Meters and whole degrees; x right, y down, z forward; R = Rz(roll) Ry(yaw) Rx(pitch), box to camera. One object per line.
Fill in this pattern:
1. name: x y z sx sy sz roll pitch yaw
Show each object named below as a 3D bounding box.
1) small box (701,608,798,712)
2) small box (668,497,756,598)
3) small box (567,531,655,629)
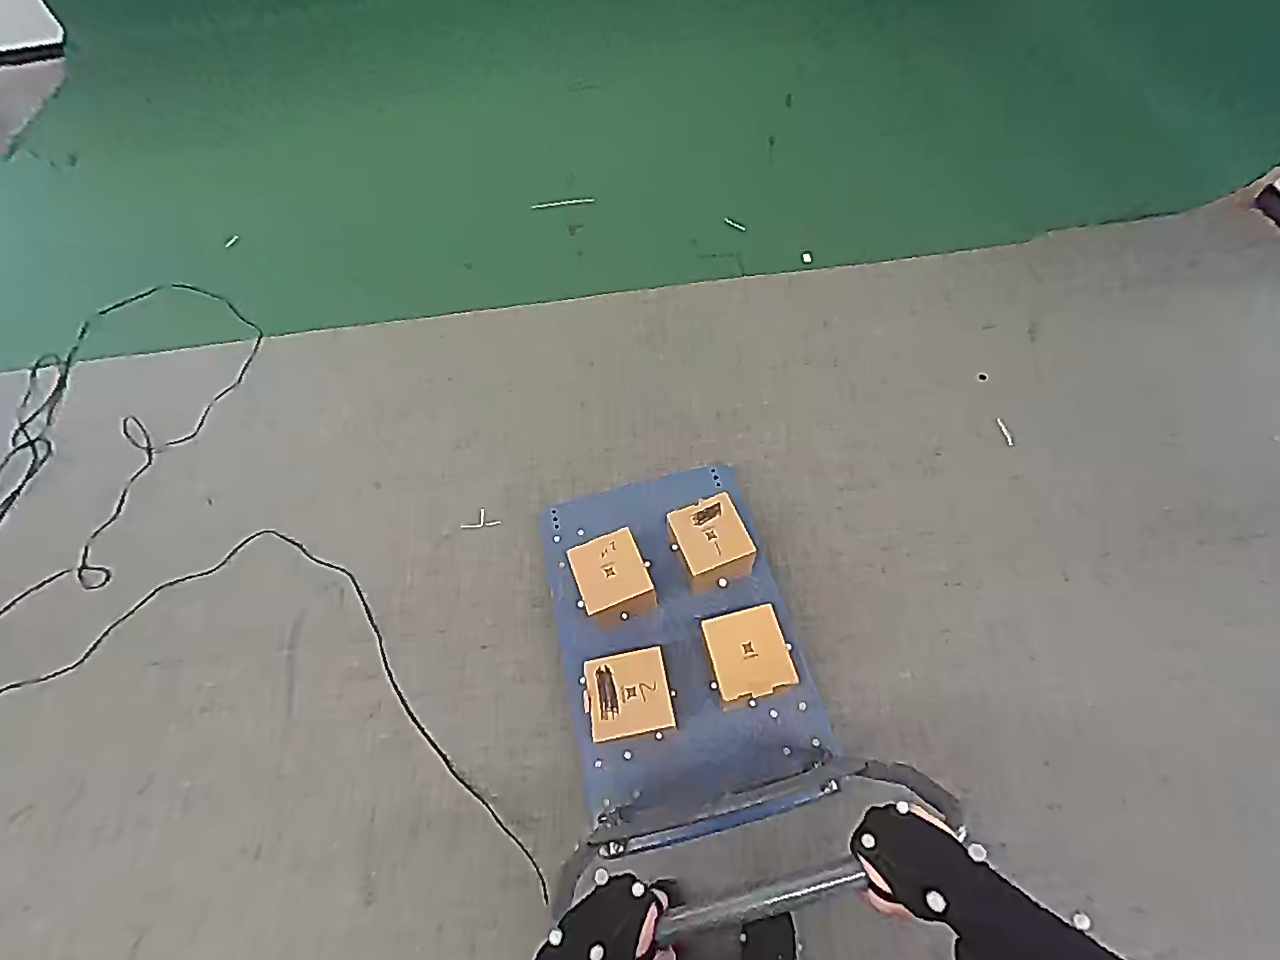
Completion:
1. small box: 0.240 0.417 1.242 0.168 0.176 0.179 -14 61 -2
2. small box: 0.178 0.175 1.382 0.168 0.176 0.179 -20 61 -6
3. small box: -0.068 0.260 1.357 0.168 0.176 0.179 -20 61 -7
